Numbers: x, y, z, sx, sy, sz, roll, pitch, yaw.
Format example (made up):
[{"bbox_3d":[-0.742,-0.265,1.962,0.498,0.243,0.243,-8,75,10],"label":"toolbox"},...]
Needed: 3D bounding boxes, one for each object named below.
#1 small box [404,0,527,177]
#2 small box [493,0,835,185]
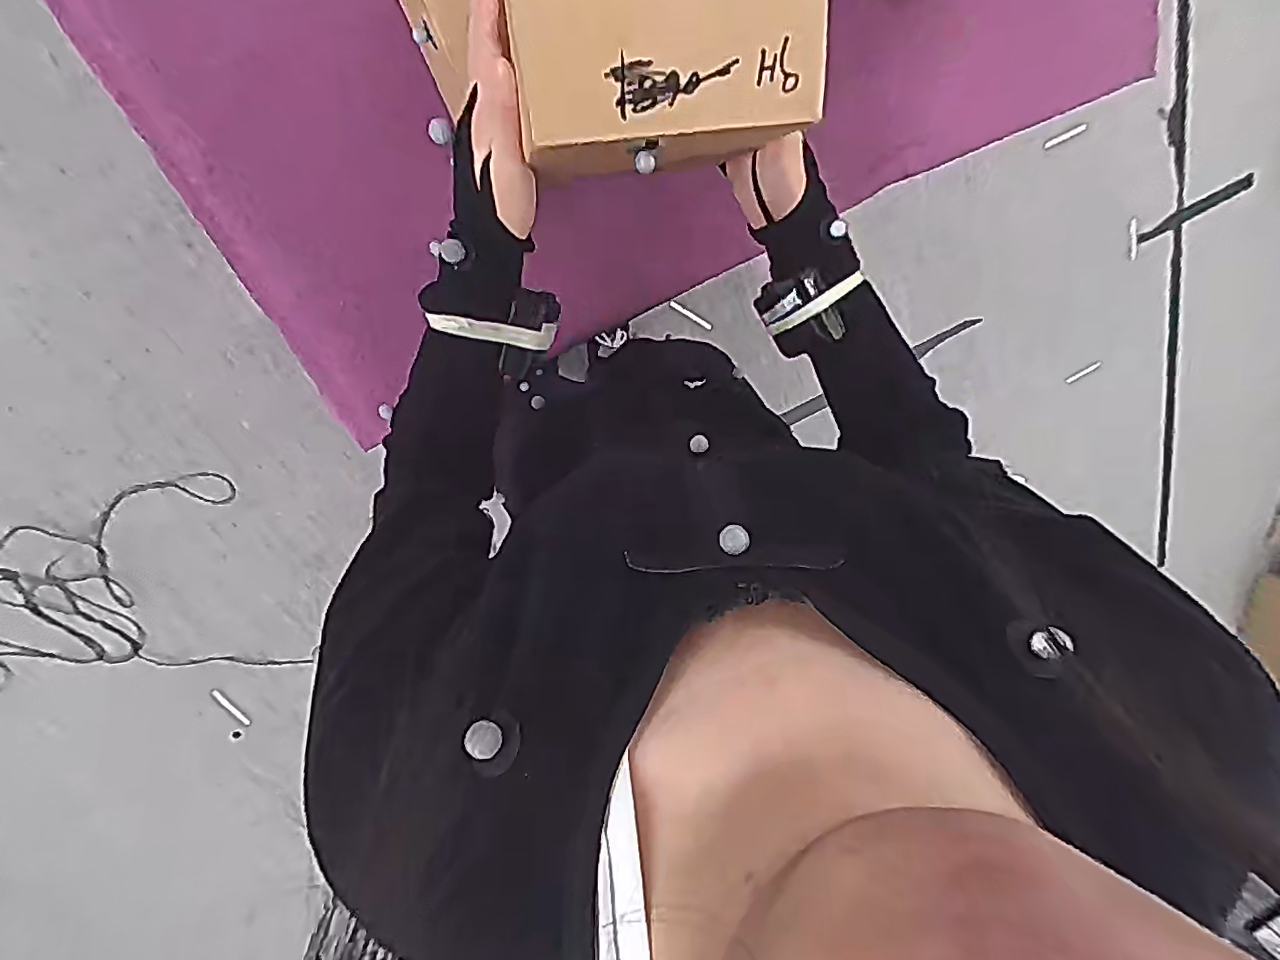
[{"bbox_3d":[-0.104,-0.403,0.487,0.168,0.176,0.179,-26,117,-7],"label":"small box"},{"bbox_3d":[-0.001,-0.290,0.322,0.168,0.176,0.179,-11,114,-8],"label":"small box"}]
